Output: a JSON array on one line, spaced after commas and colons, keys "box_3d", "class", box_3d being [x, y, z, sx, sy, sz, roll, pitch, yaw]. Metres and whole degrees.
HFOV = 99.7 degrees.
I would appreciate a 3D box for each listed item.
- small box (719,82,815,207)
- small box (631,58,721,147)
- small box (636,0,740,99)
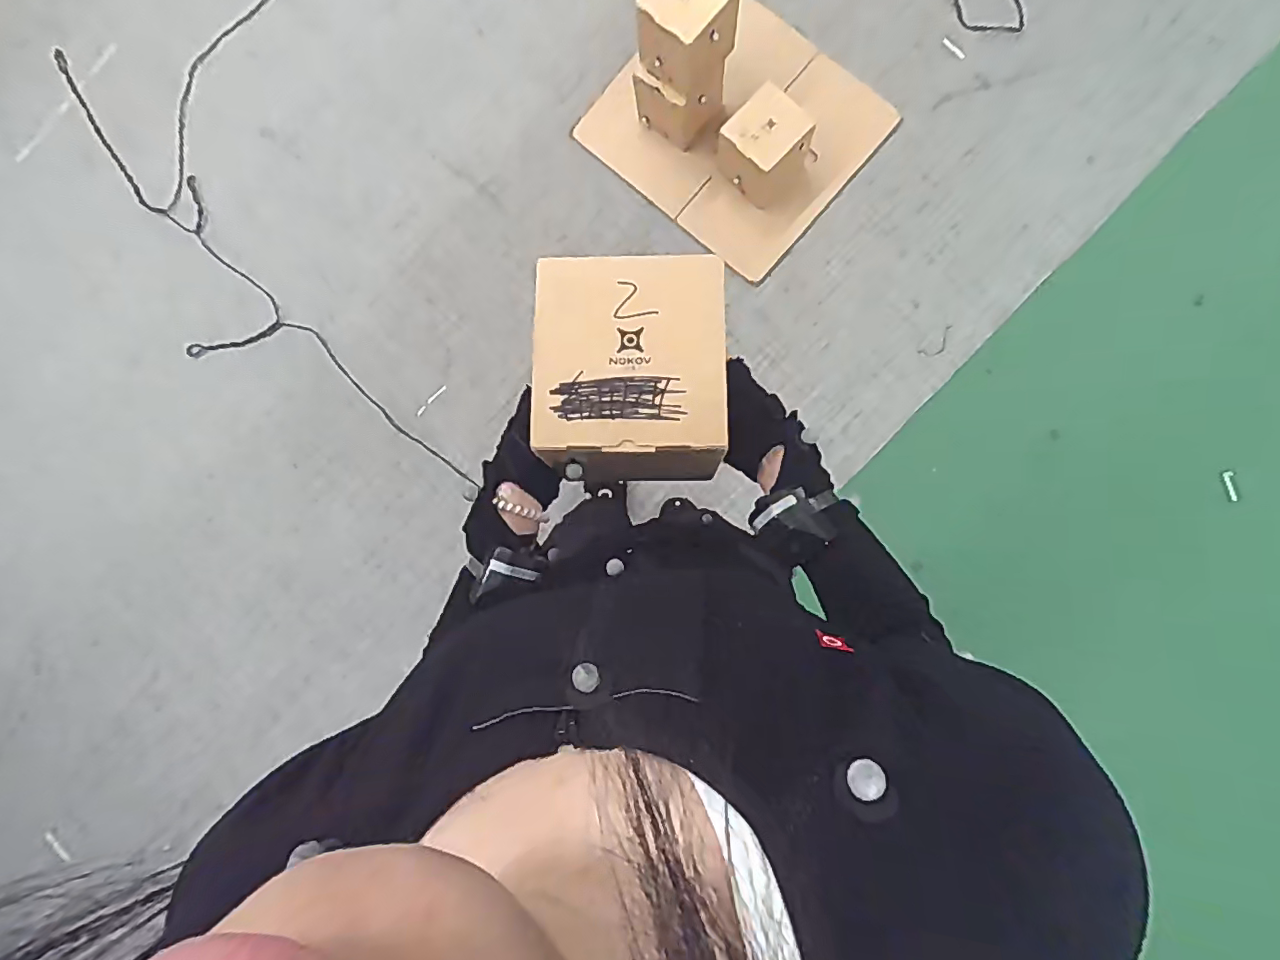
[{"box_3d": [0.320, -0.864, 1.407, 0.179, 0.176, 0.168, -44, 84, 3], "class": "small box"}, {"box_3d": [0.101, -1.036, 1.428, 0.168, 0.176, 0.179, 39, 91, 5], "class": "small box"}, {"box_3d": [0.109, -1.060, 1.265, 0.168, 0.176, 0.179, 42, 92, 5], "class": "small box"}]
